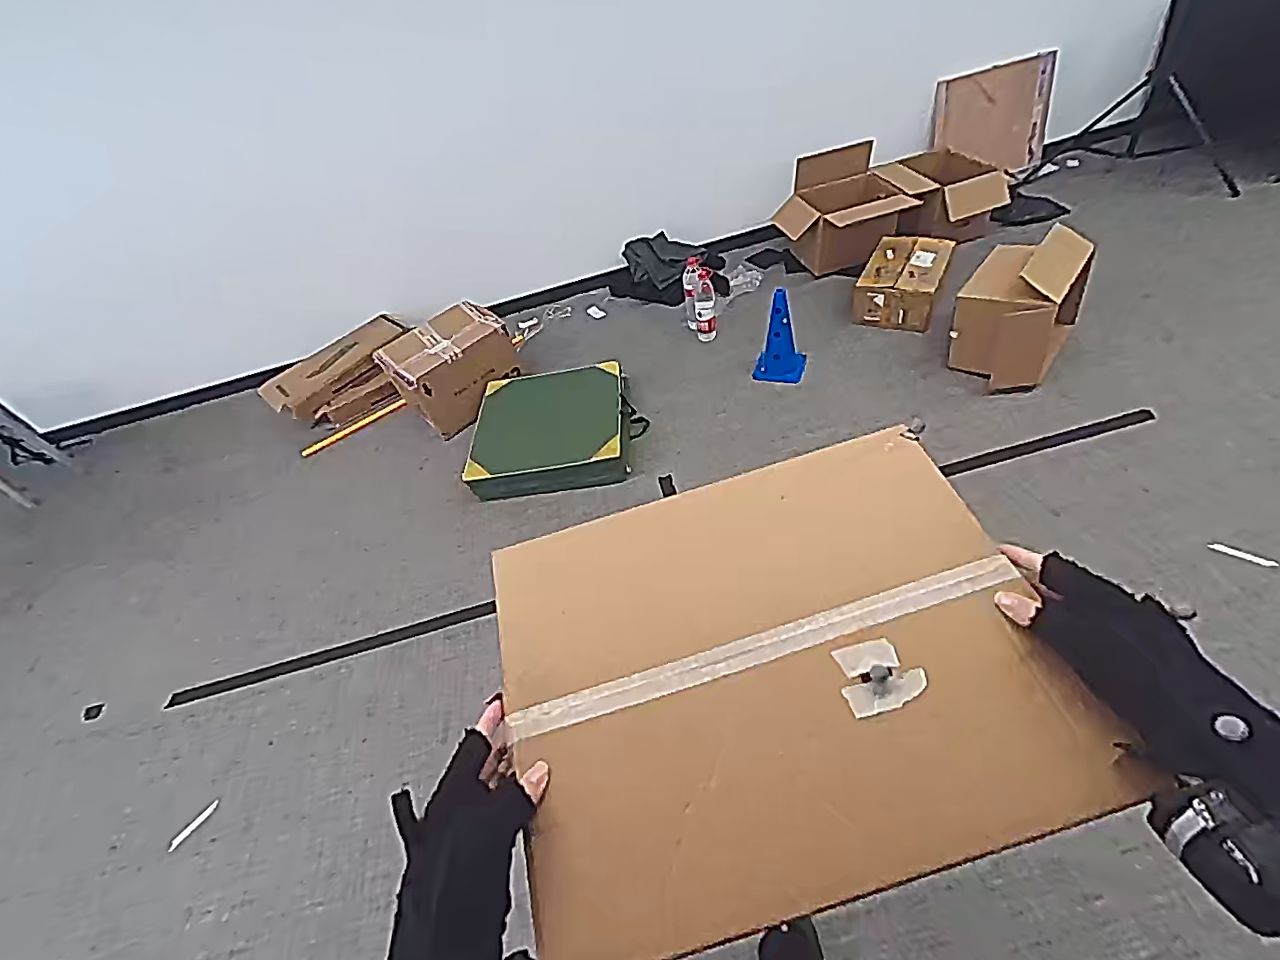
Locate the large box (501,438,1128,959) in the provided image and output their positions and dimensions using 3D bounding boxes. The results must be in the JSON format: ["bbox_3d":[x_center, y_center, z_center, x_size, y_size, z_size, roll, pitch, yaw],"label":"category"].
[{"bbox_3d":[0.116,0.220,0.553,0.408,0.320,0.320,-18,55,-1],"label":"large box"}]
